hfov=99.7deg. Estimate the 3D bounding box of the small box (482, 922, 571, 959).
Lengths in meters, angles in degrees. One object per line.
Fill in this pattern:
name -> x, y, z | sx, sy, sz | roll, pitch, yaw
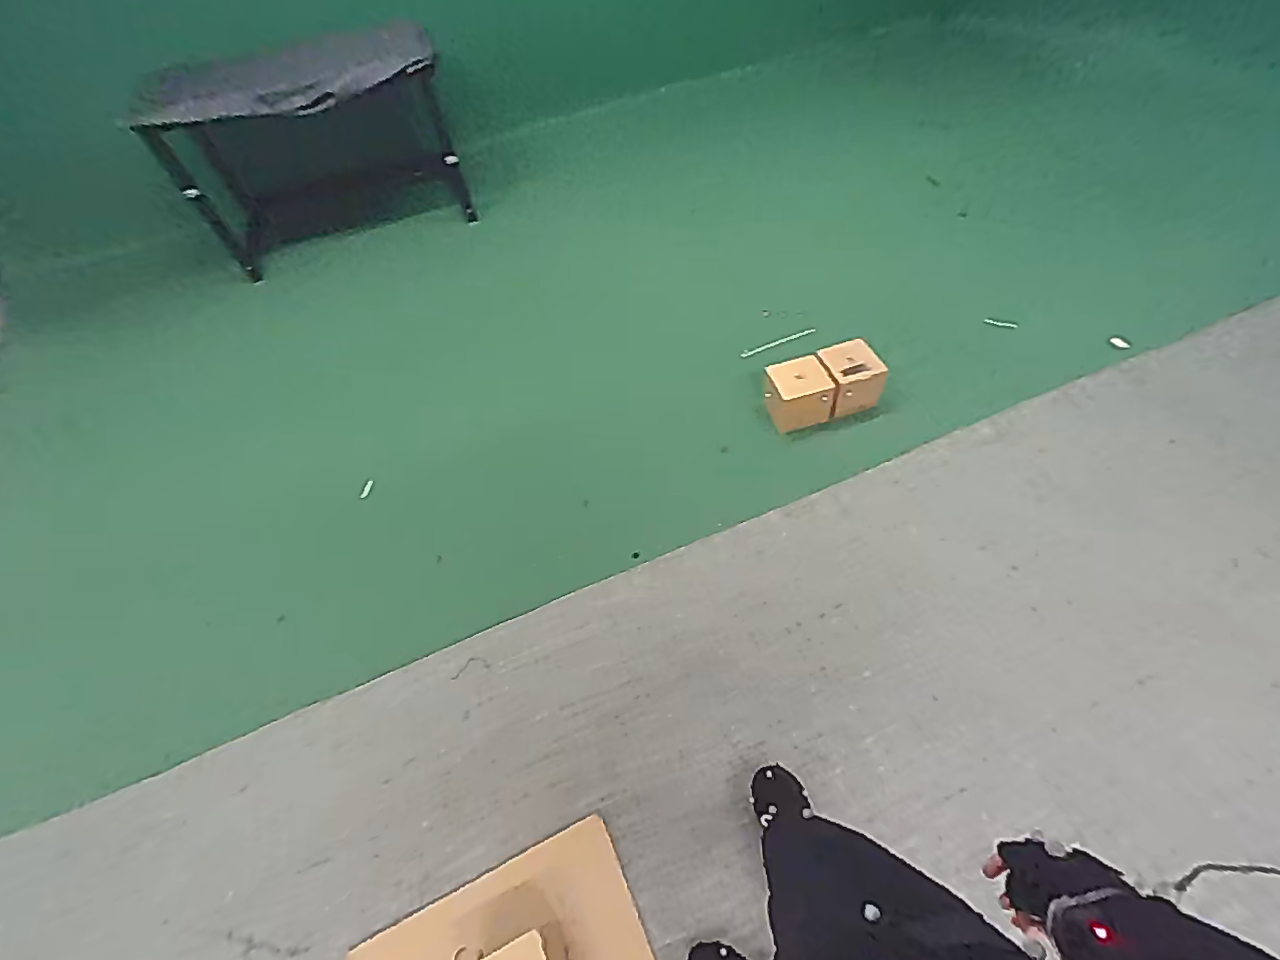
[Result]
small box -> -0.224, 0.978, 1.021 | 0.179, 0.176, 0.168 | -24, 57, -10
